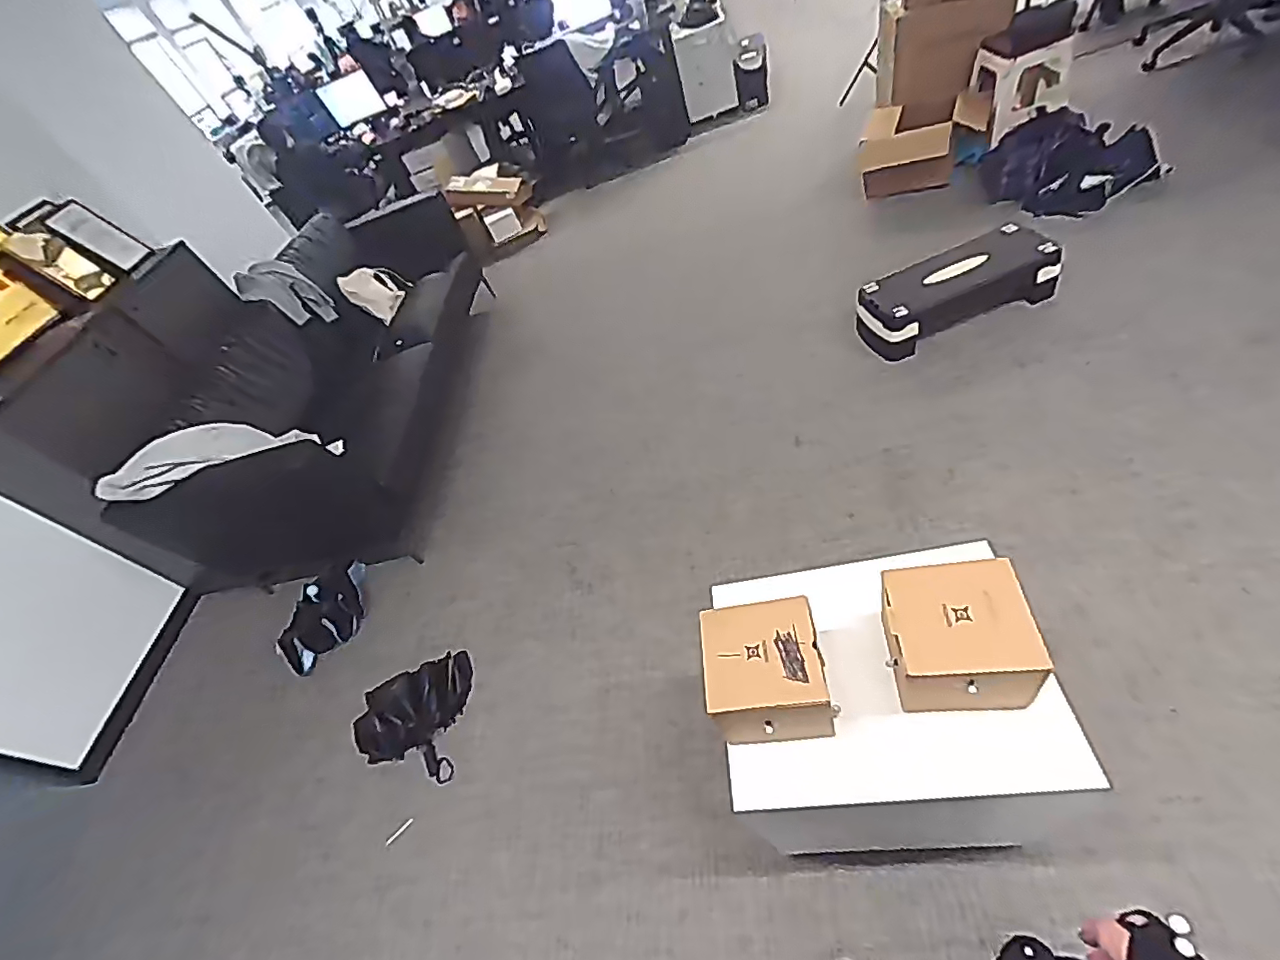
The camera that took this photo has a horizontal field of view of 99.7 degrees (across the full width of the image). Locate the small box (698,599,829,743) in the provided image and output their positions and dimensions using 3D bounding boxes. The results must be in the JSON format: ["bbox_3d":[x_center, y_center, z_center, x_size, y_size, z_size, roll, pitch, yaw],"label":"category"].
[{"bbox_3d":[0.201,0.313,0.872,0.179,0.176,0.168,-12,47,14],"label":"small box"}]

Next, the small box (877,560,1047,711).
[{"bbox_3d":[0.469,0.242,0.818,0.179,0.176,0.168,-9,50,16],"label":"small box"}]
